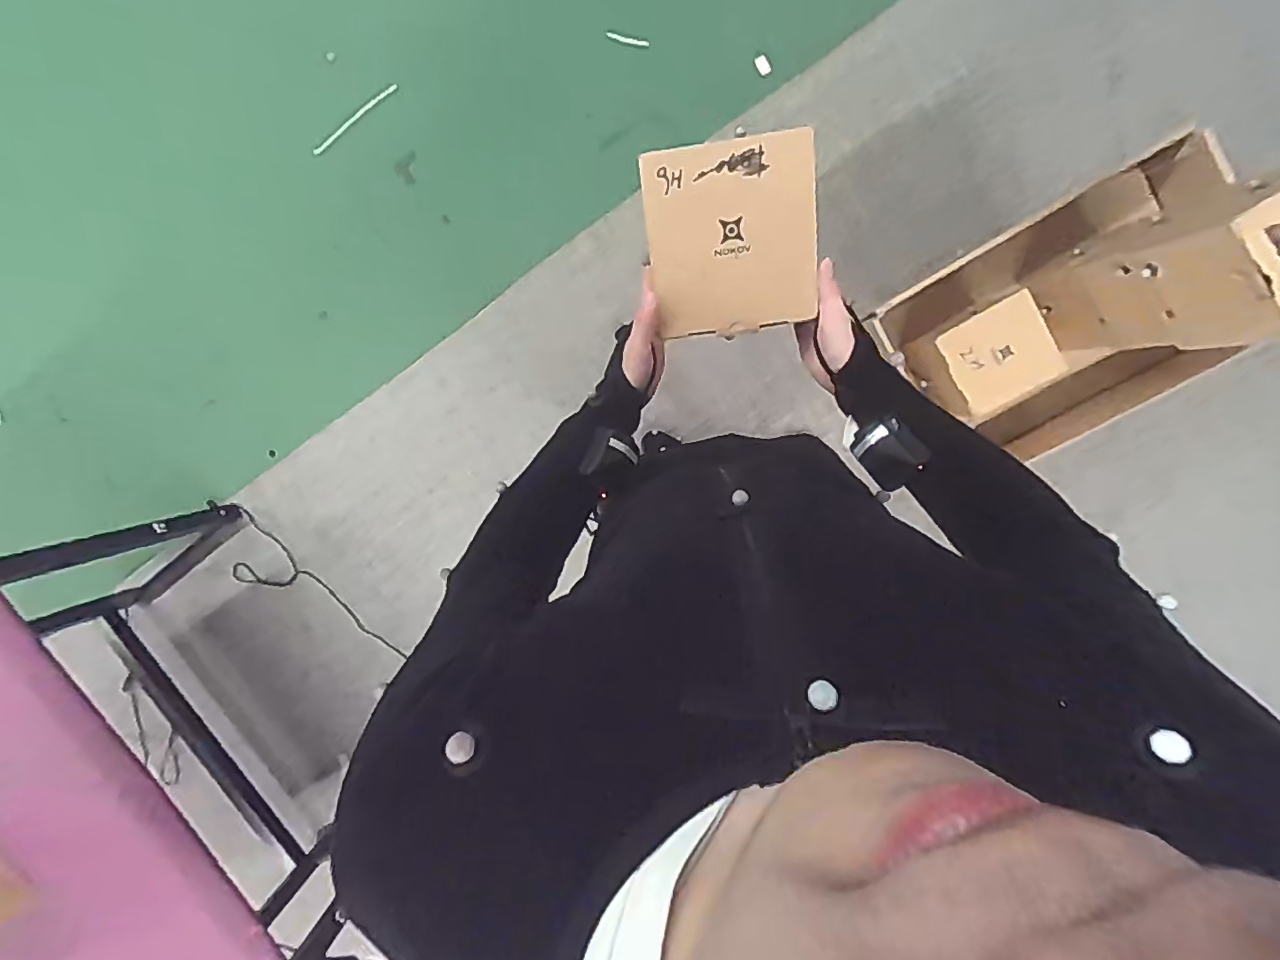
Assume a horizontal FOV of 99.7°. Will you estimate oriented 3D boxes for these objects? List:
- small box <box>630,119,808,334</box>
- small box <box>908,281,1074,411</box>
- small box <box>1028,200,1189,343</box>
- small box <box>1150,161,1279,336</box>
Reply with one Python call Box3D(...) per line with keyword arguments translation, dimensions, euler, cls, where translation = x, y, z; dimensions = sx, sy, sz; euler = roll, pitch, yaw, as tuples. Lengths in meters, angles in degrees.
Box3D(translation=(0.087, -0.271, 0.603), dimensions=(0.168, 0.176, 0.179), euler=(-6, 110, 6), cls="small box")
Box3D(translation=(0.651, -0.246, 1.025), dimensions=(0.179, 0.176, 0.168), euler=(-29, 94, 9), cls="small box")
Box3D(translation=(0.869, -0.368, 0.989), dimensions=(0.179, 0.176, 0.168), euler=(-30, 95, 13), cls="small box")
Box3D(translation=(0.803, -0.297, 0.674), dimensions=(0.179, 0.176, 0.168), euler=(-33, 94, 12), cls="small box")
